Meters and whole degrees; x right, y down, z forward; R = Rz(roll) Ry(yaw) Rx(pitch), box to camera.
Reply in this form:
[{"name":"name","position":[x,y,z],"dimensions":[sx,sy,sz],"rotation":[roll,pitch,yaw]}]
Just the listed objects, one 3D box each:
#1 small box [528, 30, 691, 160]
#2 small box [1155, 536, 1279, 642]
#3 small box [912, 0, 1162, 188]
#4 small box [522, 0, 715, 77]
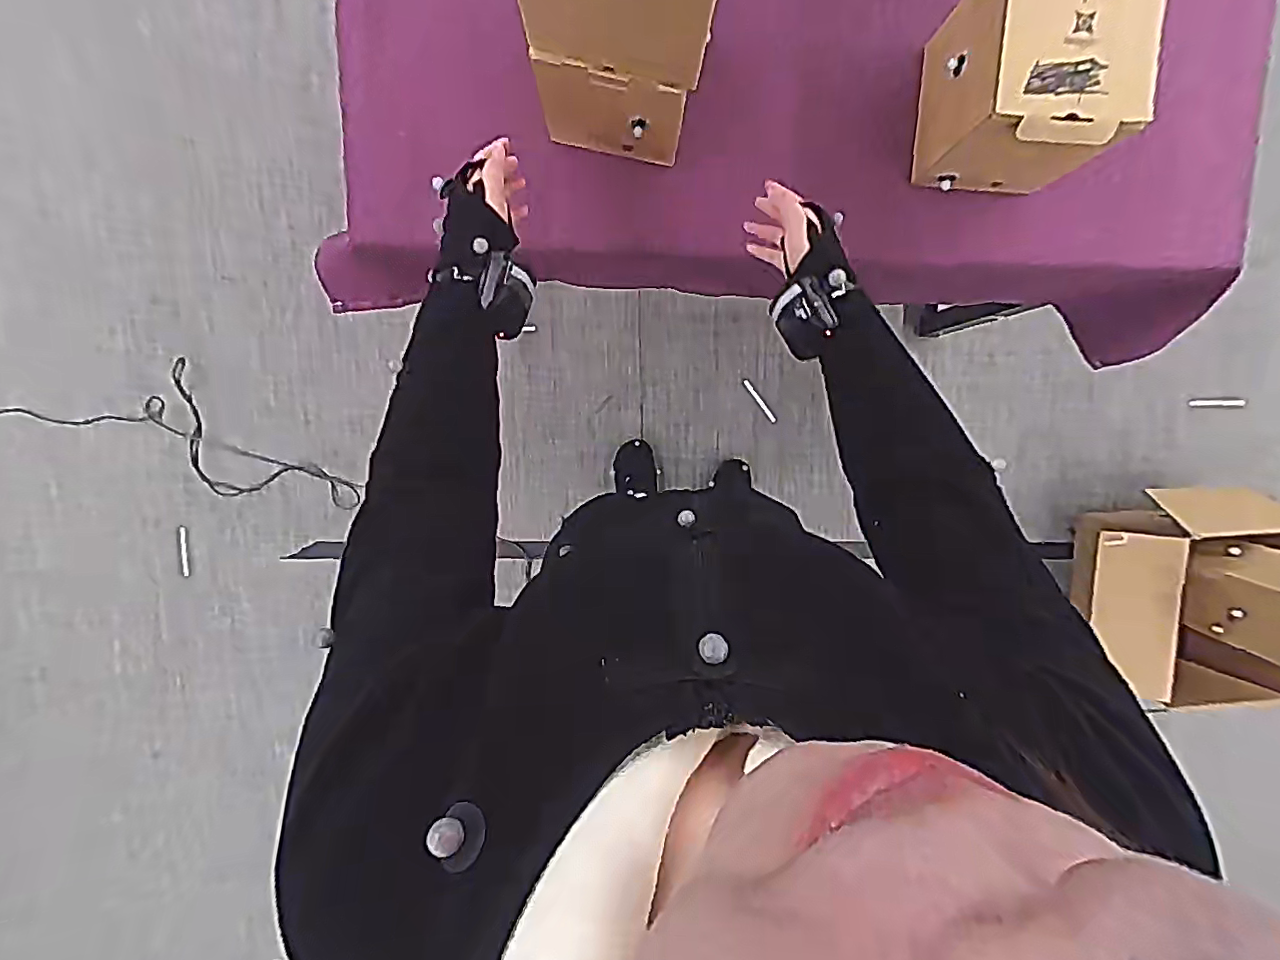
[{"name":"small box","position":[-0.019,-0.505,0.619],"dimensions":[0.168,0.176,0.179],"rotation":[11,96,-3]},{"name":"small box","position":[1.383,0.247,1.281],"dimensions":[0.168,0.176,0.179],"rotation":[-21,100,3]},{"name":"small box","position":[0.444,-0.467,0.632],"dimensions":[0.168,0.176,0.179],"rotation":[3,95,-2]},{"name":"small box","position":[-0.009,-0.488,0.457],"dimensions":[0.179,0.176,0.168],"rotation":[12,97,-4]}]
